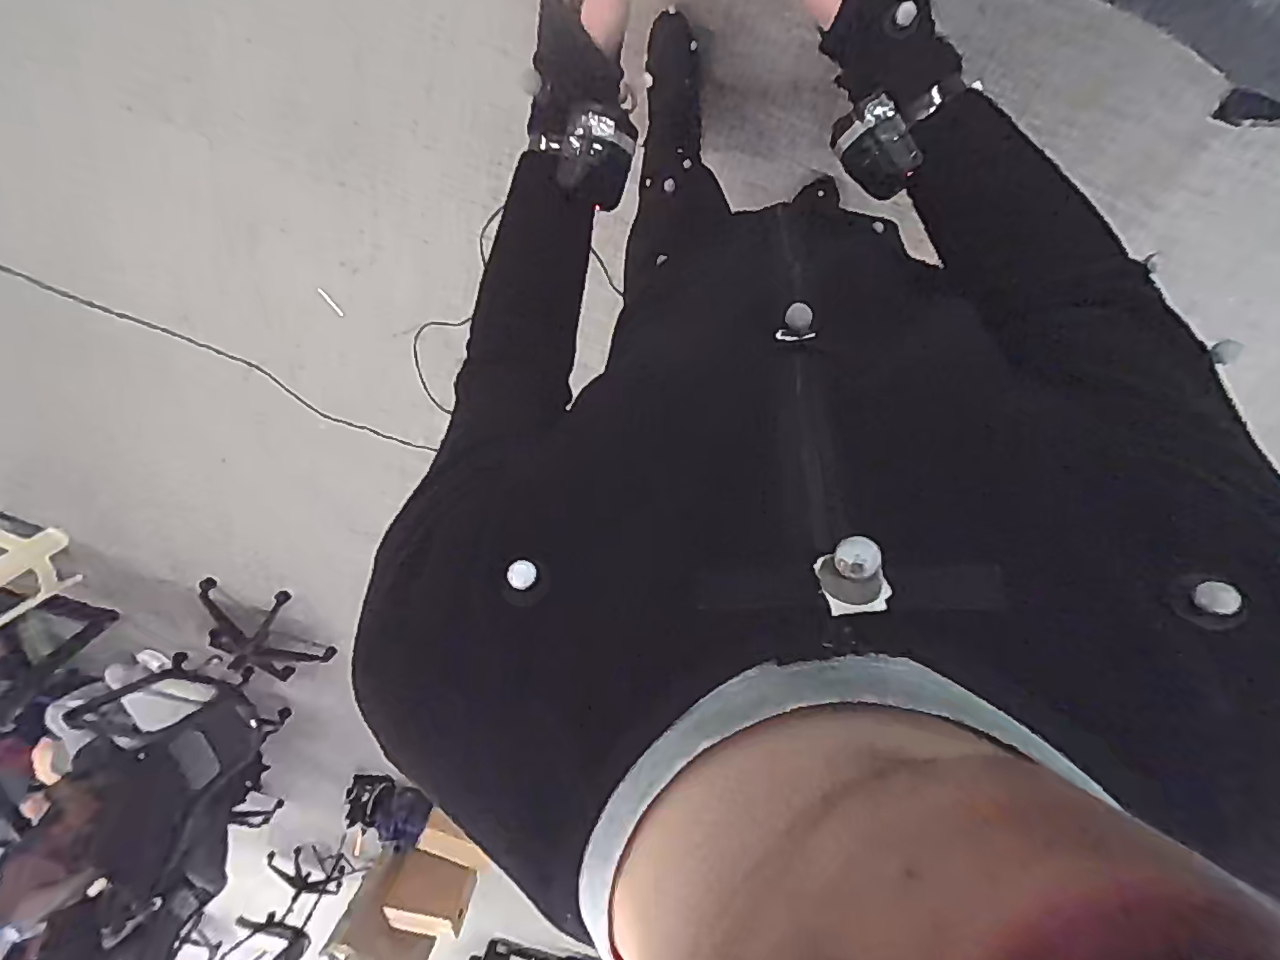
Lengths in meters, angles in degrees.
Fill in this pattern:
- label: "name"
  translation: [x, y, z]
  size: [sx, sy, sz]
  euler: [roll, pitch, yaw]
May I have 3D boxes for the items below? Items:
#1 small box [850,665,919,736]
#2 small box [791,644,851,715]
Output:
- label: "small box"
  translation: [0.918, 0.835, 2.058]
  size: [0.168, 0.176, 0.179]
  euler: [17, 124, -2]
- label: "small box"
  translation: [0.675, 0.750, 2.046]
  size: [0.168, 0.176, 0.179]
  euler: [12, 126, 4]
